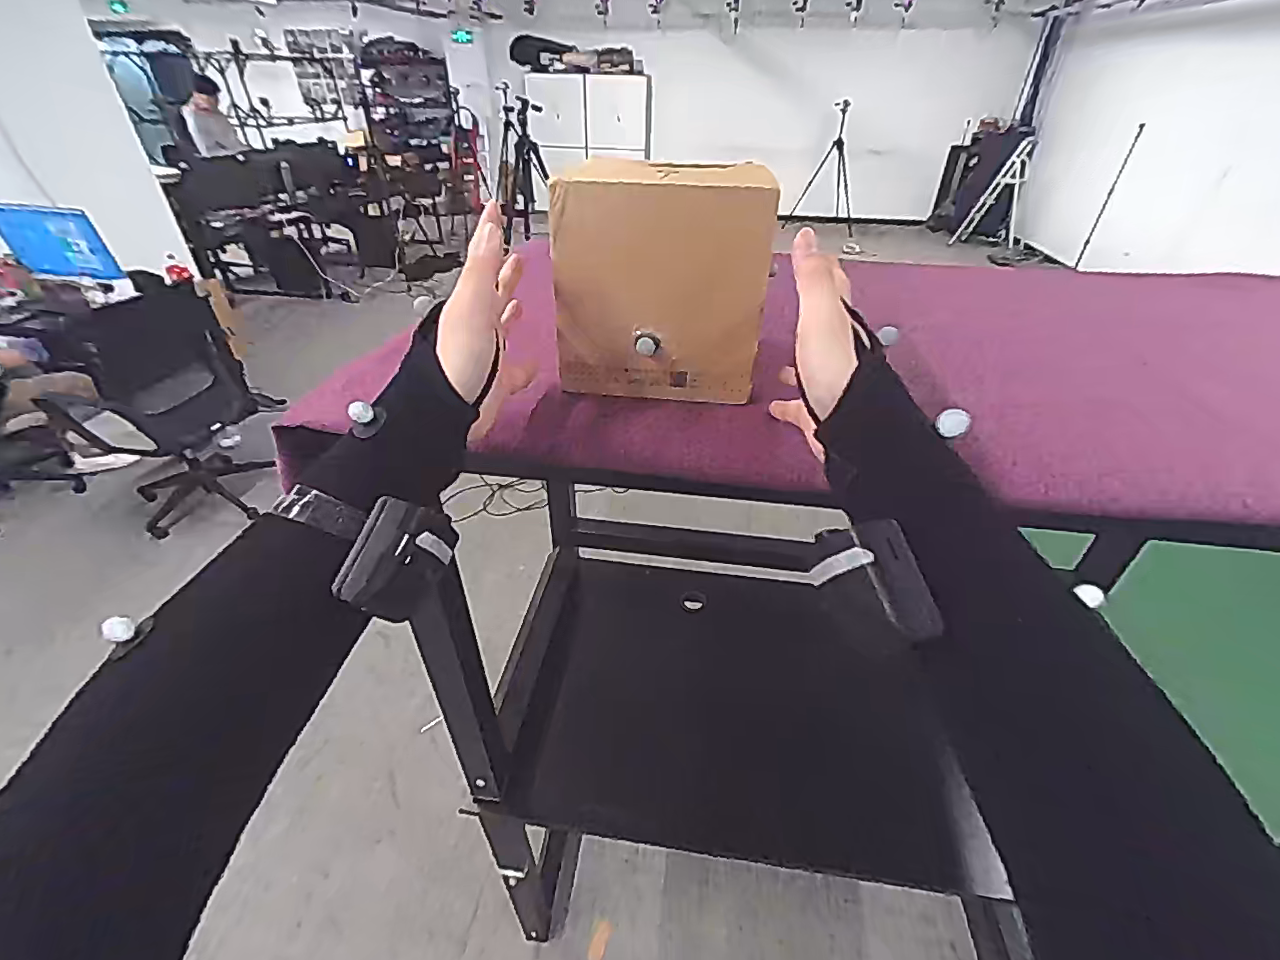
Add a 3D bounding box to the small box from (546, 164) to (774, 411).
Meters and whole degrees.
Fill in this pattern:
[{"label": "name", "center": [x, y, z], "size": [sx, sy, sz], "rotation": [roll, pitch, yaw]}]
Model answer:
[{"label": "small box", "center": [0.021, -0.180, 0.490], "size": [0.168, 0.176, 0.179], "rotation": [5, 35, 6]}]
